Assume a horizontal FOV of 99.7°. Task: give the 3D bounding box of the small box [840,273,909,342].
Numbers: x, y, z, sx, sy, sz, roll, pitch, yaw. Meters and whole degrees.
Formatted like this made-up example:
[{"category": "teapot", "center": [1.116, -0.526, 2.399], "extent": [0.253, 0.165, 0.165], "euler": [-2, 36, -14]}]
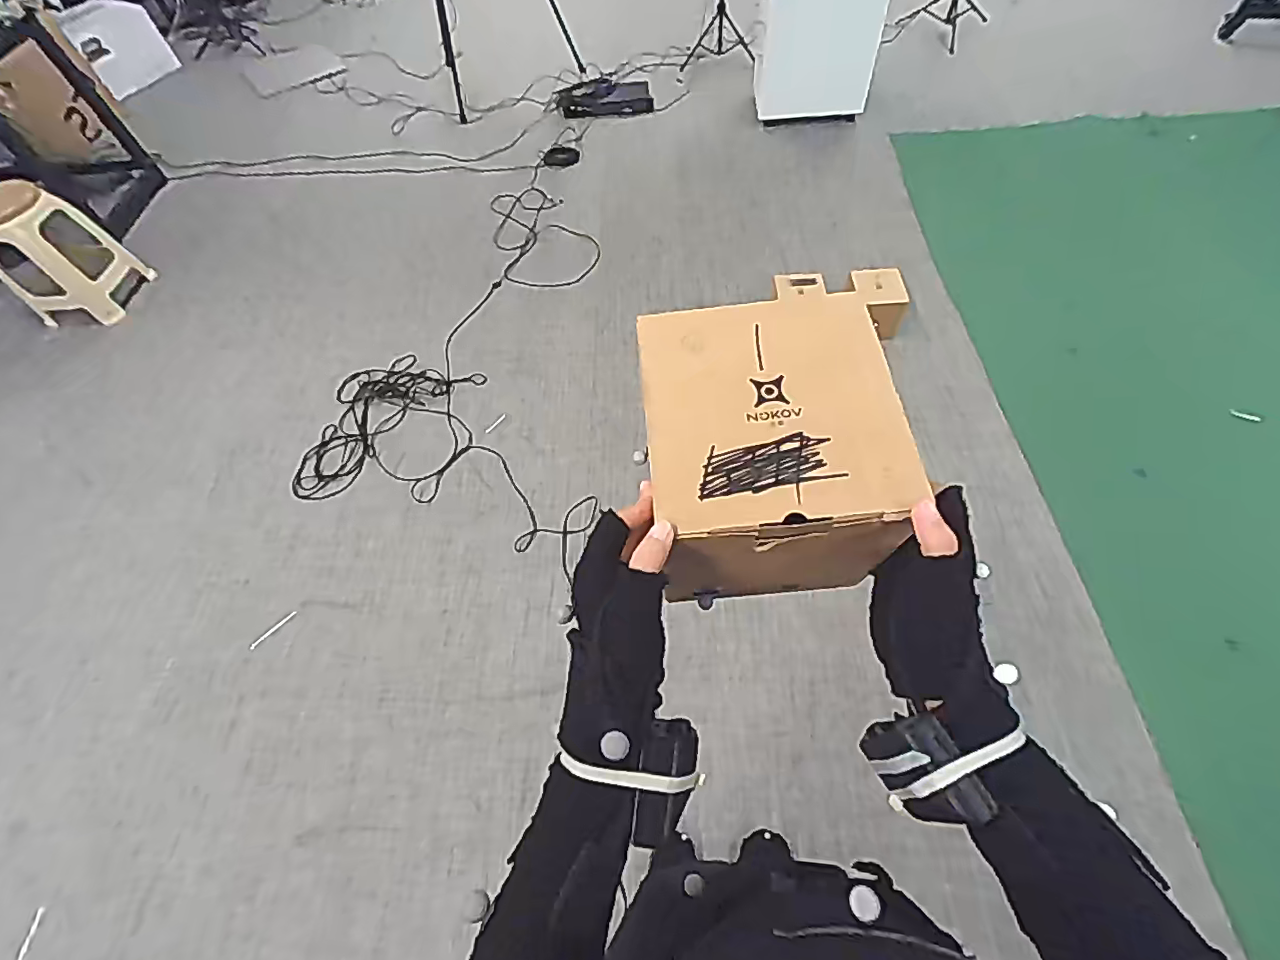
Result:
[{"category": "small box", "center": [0.824, -0.606, 1.914], "extent": [0.168, 0.176, 0.179], "euler": [-1, 58, 4]}]
